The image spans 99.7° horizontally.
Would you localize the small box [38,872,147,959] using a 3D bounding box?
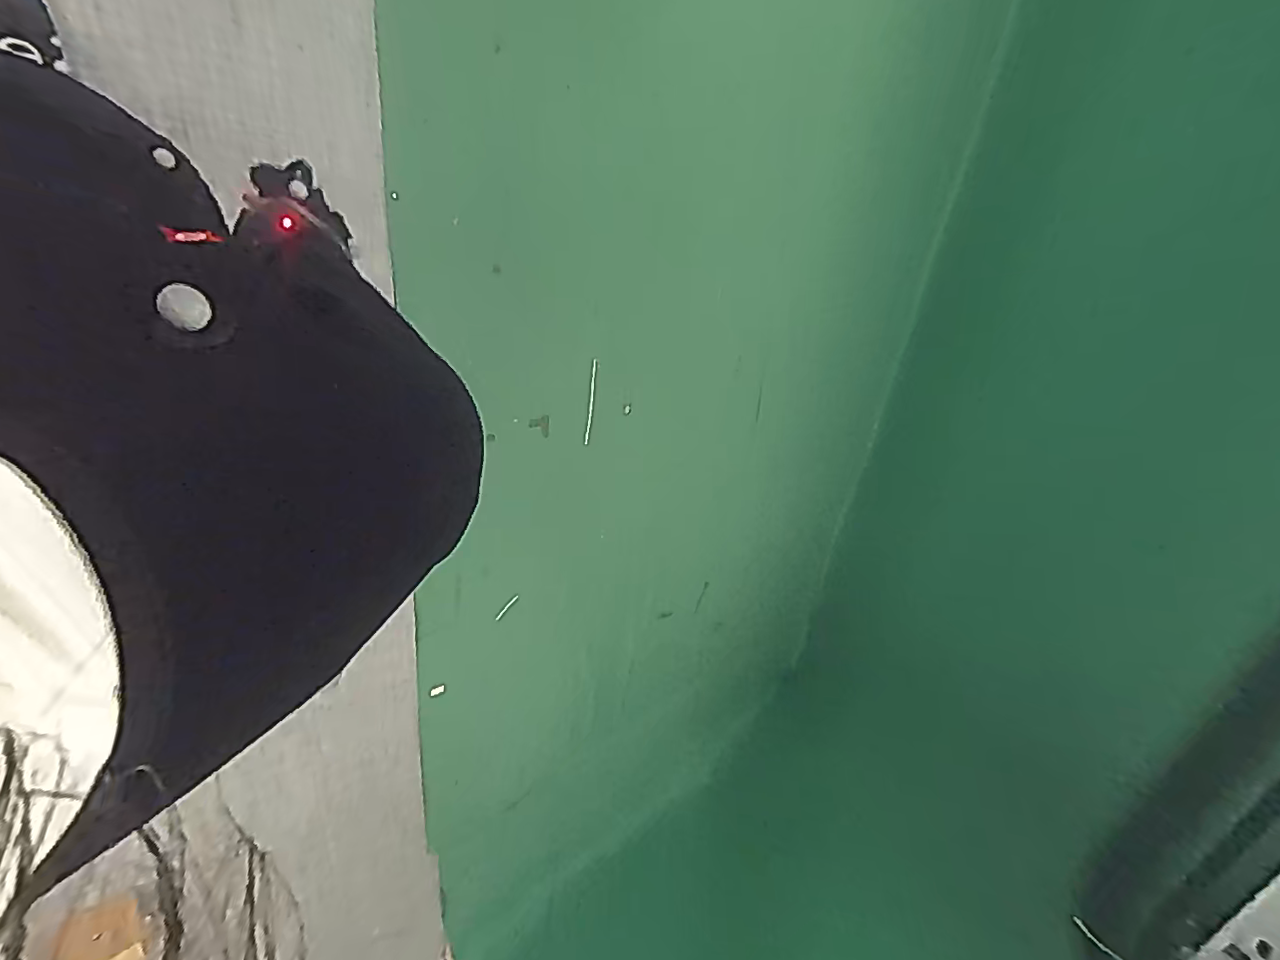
[{"bbox_3d":[-1.438,1.201,1.427,0.179,0.176,0.168,-14,124,-40],"label":"small box"}]
